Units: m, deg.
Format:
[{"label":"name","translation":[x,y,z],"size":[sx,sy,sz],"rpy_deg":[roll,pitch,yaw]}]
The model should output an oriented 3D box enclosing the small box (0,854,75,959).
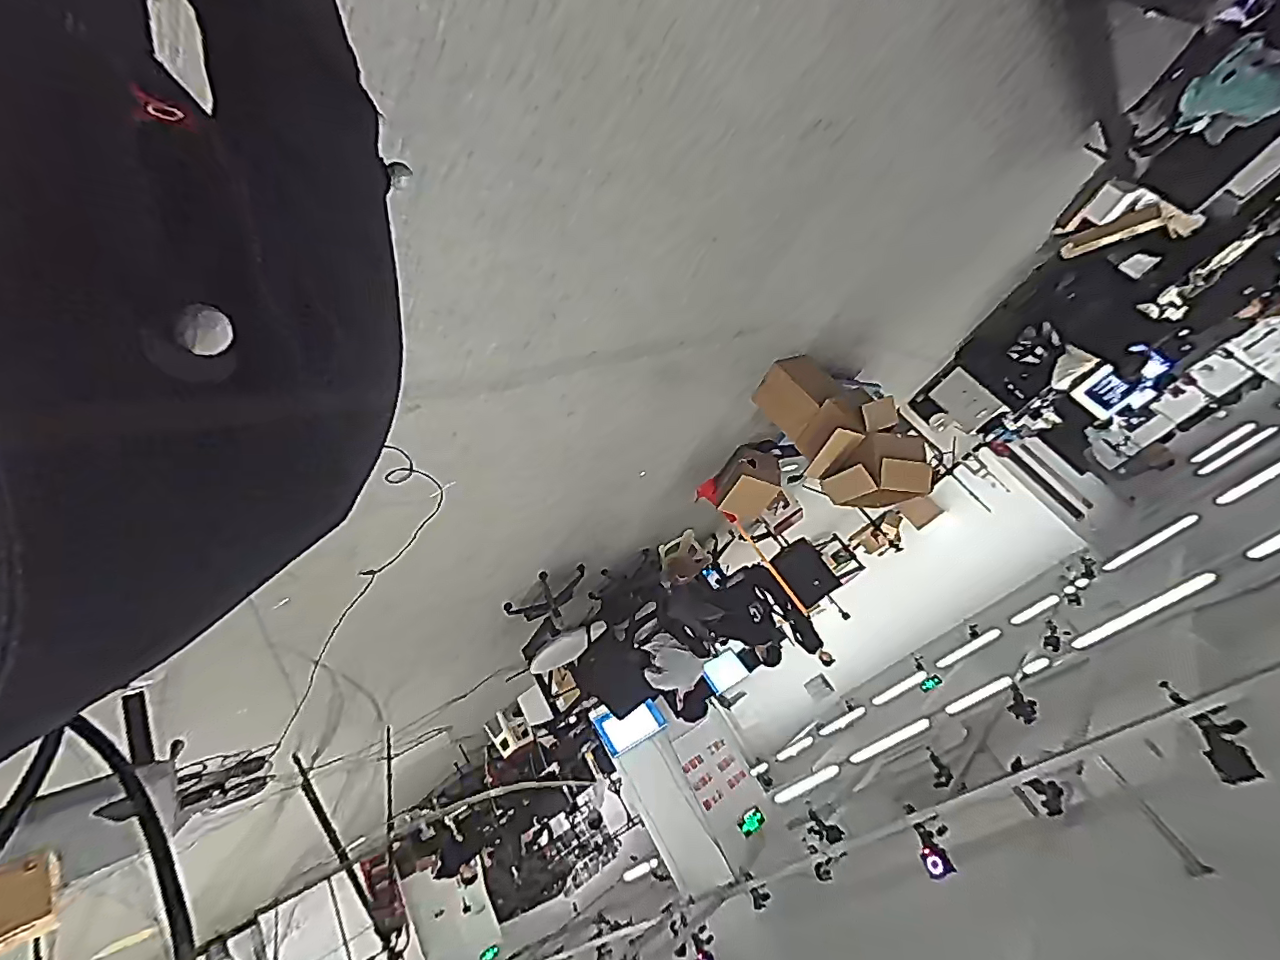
[{"label":"small box","translation":[-1.611,1.120,1.410],"size":[0.168,0.176,0.179],"rpy_deg":[-10,146,-44]}]
